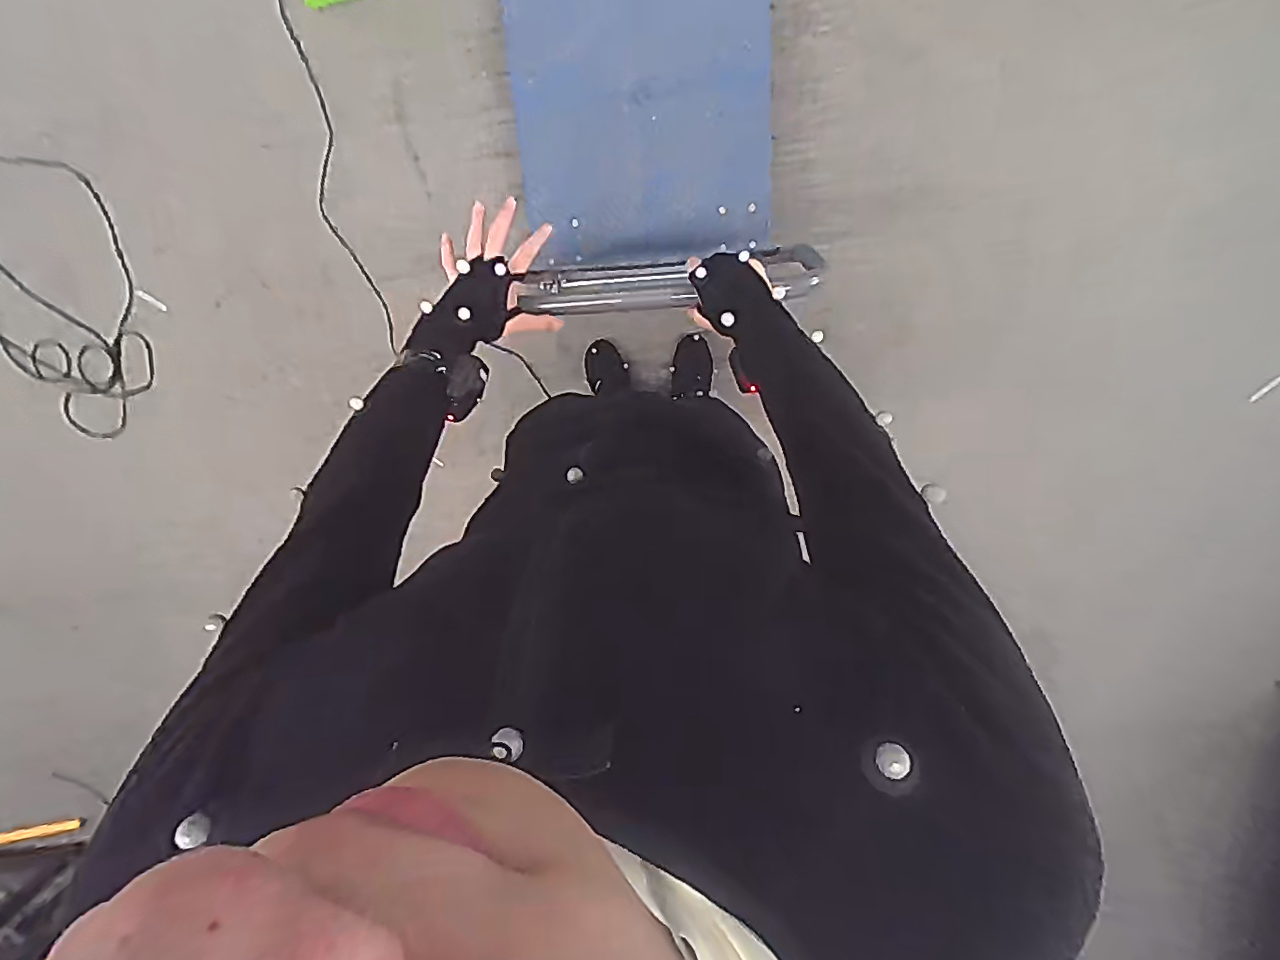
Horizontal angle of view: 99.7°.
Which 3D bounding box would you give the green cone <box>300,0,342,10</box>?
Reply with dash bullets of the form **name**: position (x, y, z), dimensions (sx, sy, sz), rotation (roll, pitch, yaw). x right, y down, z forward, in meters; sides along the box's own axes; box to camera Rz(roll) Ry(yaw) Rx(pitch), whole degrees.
- **green cone**: position (-0.776, -1.222, 1.140), dimensions (0.202, 0.368, 0.200), rotation (-9, 106, 8)
